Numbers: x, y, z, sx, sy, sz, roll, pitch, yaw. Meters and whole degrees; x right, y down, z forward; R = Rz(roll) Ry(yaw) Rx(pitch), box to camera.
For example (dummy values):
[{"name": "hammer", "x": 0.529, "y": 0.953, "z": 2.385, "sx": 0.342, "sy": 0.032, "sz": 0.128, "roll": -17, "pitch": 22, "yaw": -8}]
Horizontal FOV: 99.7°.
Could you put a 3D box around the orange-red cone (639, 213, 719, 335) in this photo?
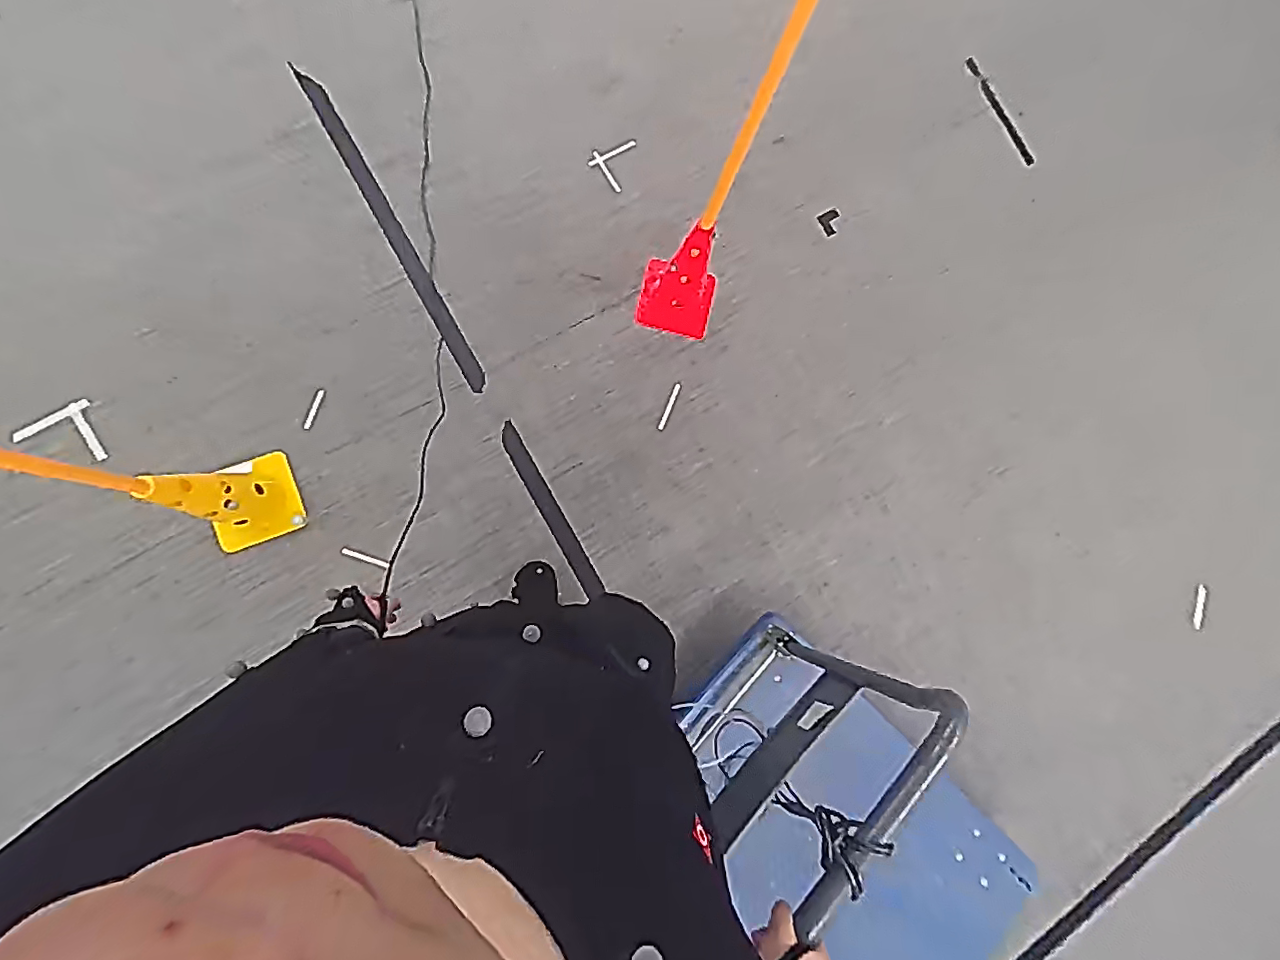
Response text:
[{"name": "orange-red cone", "x": 0.126, "y": -0.529, "z": 1.323, "sx": 0.198, "sy": 0.360, "sz": 0.199, "roll": 15, "pitch": 83, "yaw": -4}]
